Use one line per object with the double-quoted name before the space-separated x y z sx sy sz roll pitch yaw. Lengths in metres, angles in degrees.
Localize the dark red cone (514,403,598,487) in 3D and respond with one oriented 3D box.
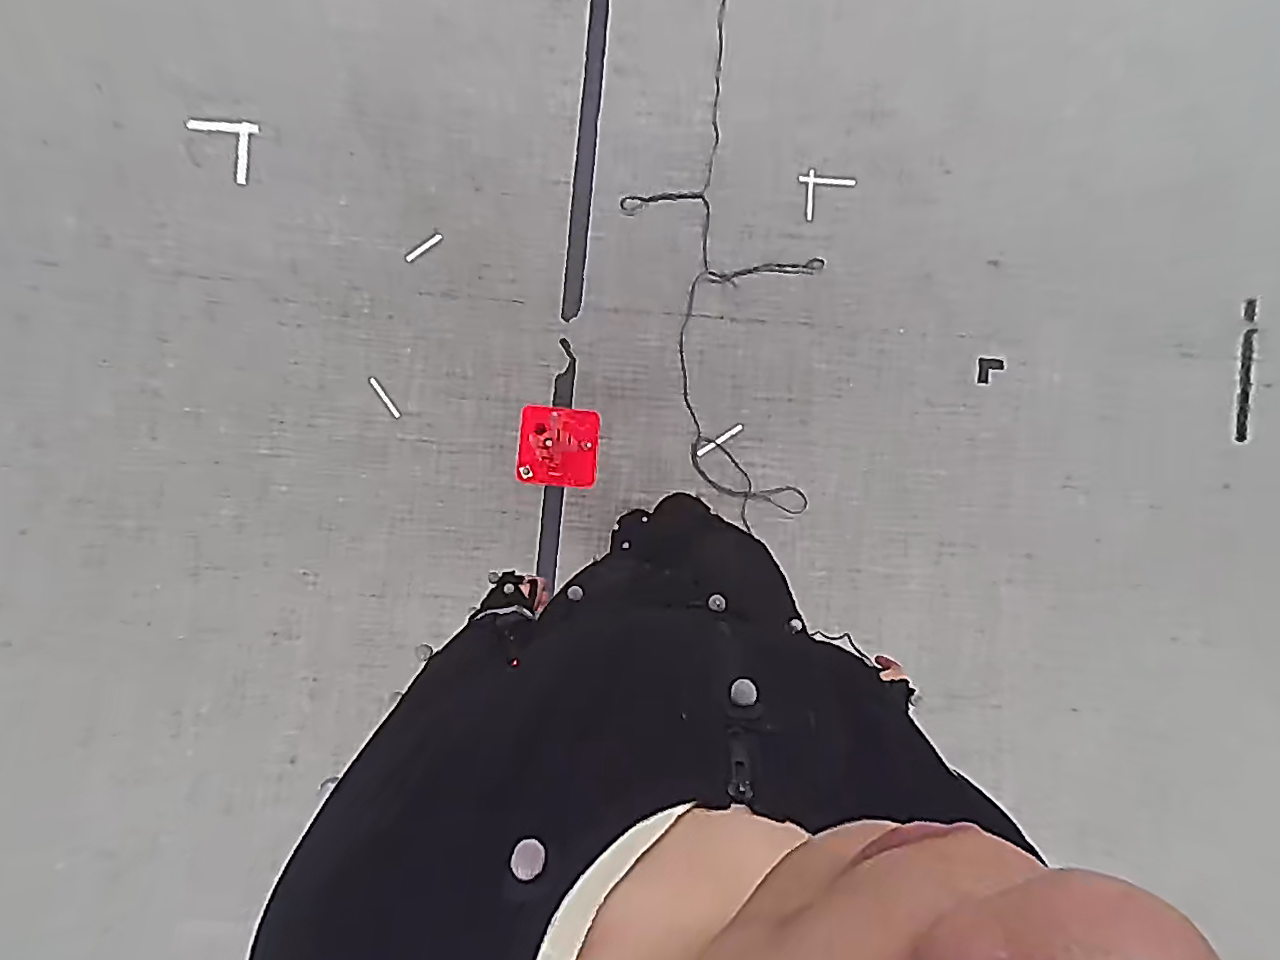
"dark red cone" -0.195 -0.094 1.180 0.201 0.394 0.202 4 88 -4
